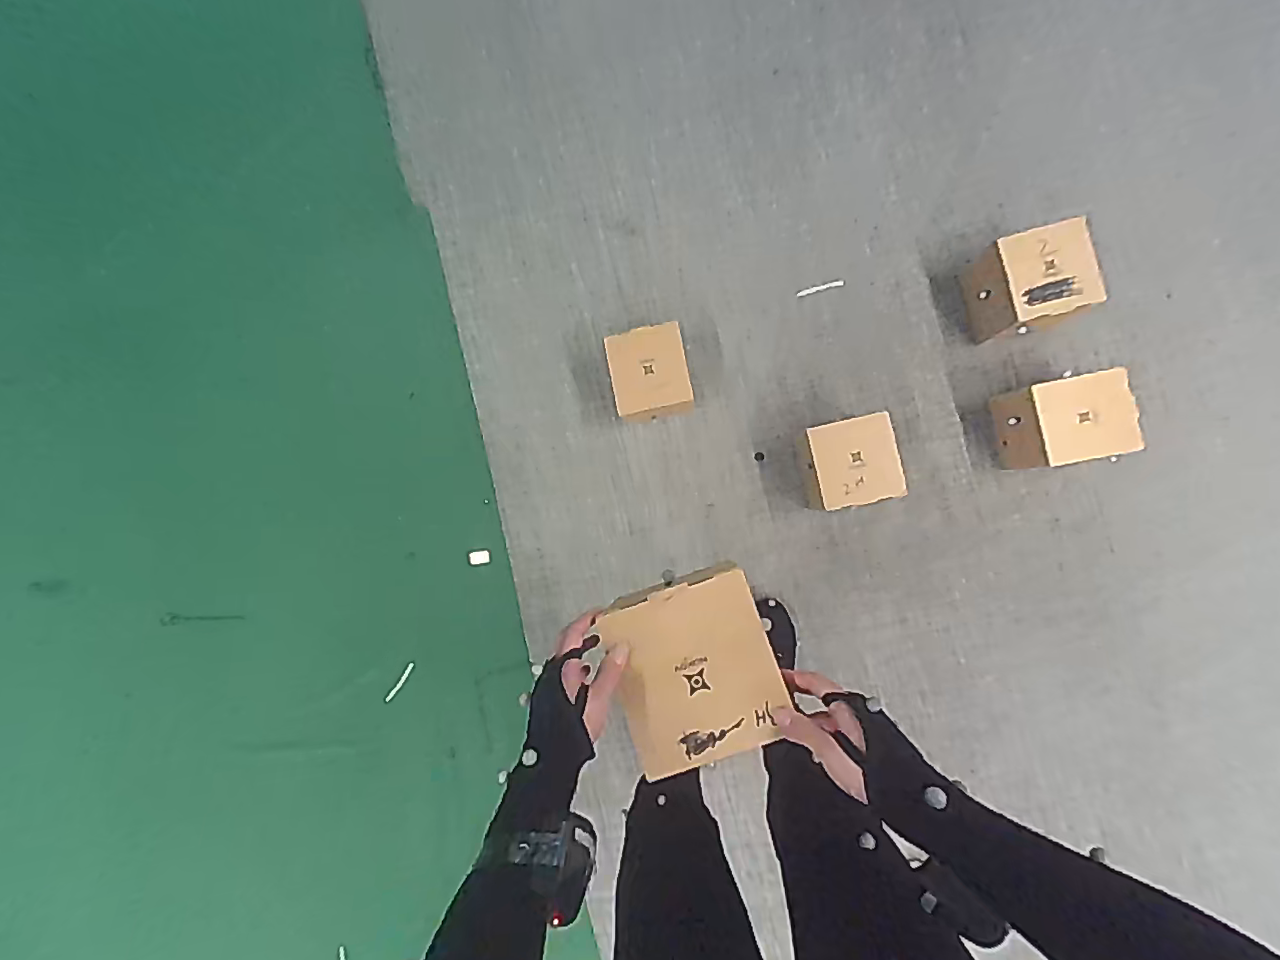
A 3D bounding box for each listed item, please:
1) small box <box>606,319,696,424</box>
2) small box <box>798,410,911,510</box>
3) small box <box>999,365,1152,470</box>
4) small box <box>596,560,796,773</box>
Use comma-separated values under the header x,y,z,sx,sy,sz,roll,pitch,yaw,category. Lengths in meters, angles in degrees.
x,y,z,sx,sy,sz,roll,pitch,yaw,category
0.029,-0.234,1.209,0.168,0.176,0.179,-11,87,7,small box
0.444,-0.035,1.149,0.168,0.176,0.179,-12,87,7,small box
0.868,-0.118,1.102,0.179,0.176,0.168,-12,87,6,small box
0.060,0.200,0.626,0.168,0.176,0.179,-18,81,3,small box
